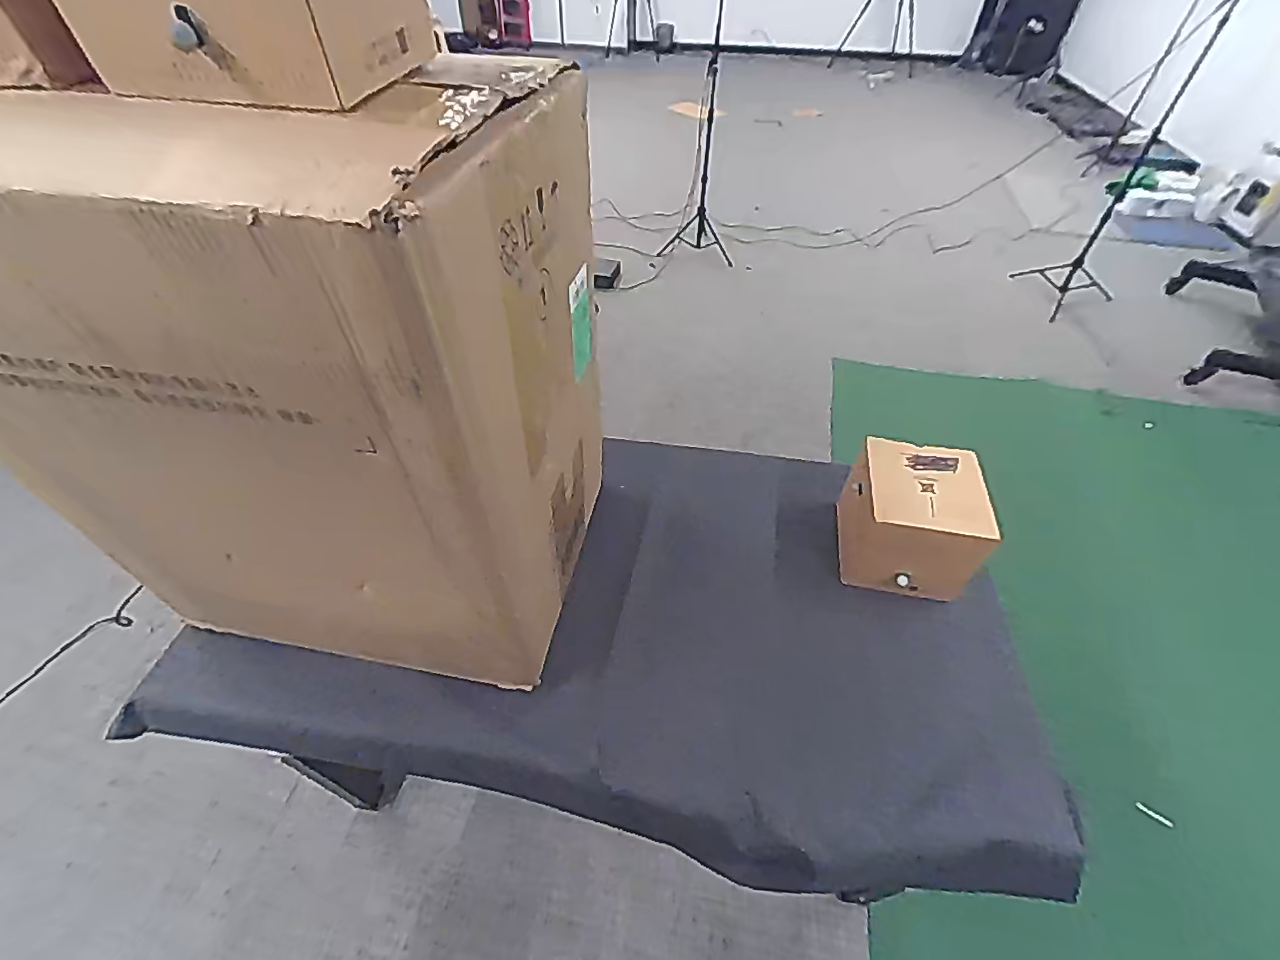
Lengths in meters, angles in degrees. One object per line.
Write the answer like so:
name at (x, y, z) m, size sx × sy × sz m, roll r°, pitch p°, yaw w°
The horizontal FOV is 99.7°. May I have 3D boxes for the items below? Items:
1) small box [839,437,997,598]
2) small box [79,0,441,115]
small box at (0.422, 0.059, 0.859) m, size 0.168 × 0.176 × 0.179 m, roll 9°, pitch 49°, yaw 7°
small box at (-0.259, -0.369, 0.365) m, size 0.179 × 0.176 × 0.168 m, roll 7°, pitch 49°, yaw 4°
